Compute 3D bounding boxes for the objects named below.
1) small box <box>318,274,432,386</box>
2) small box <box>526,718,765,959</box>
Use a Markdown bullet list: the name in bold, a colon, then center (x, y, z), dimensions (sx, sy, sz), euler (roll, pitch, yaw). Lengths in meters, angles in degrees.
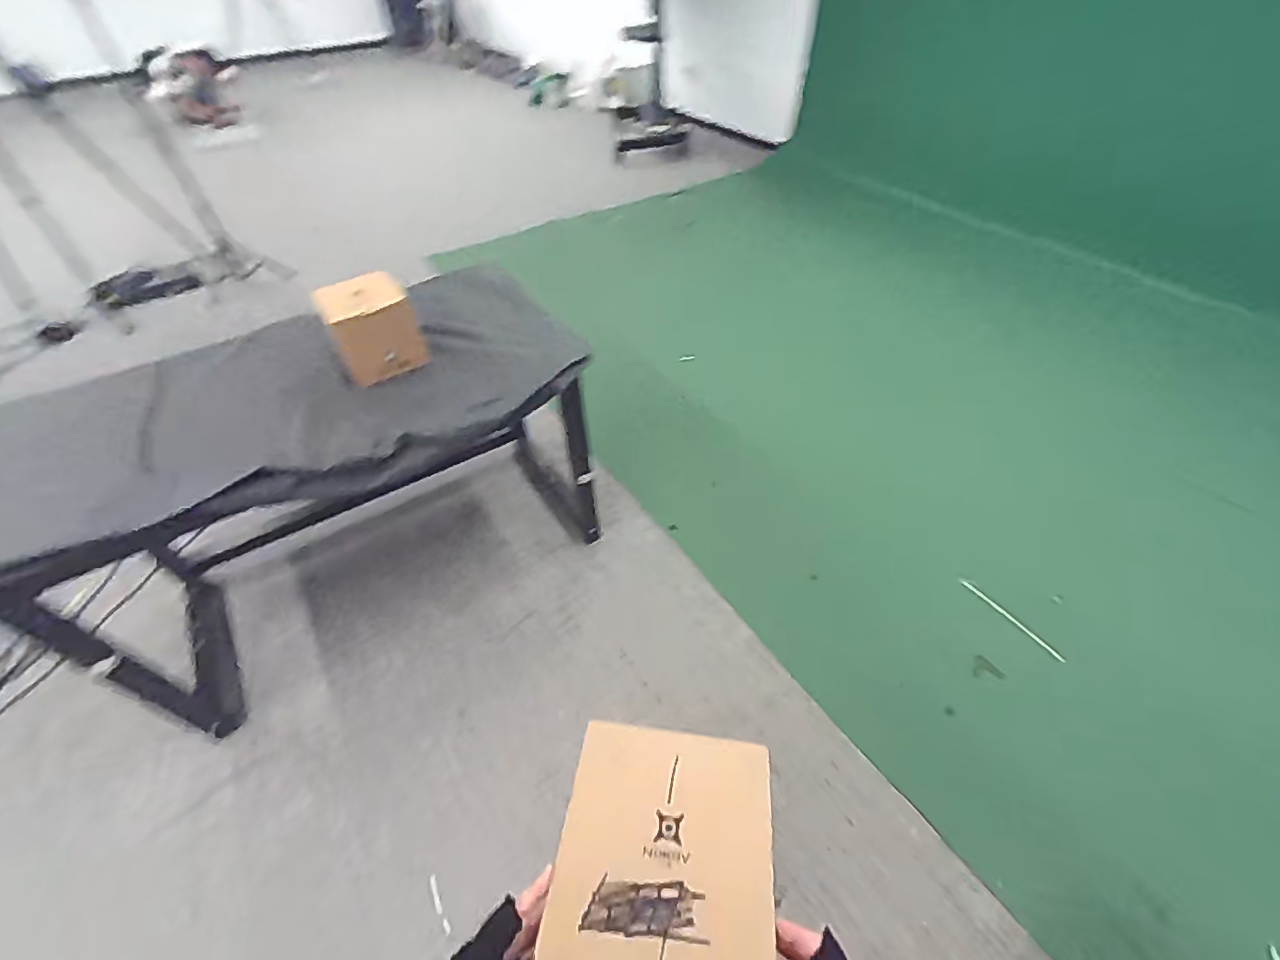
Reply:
- **small box**: center (-0.611, -0.347, 1.254), dimensions (0.168, 0.176, 0.179), euler (-28, 52, -22)
- **small box**: center (0.015, 0.342, 0.471), dimensions (0.168, 0.176, 0.179), euler (5, 38, 7)
